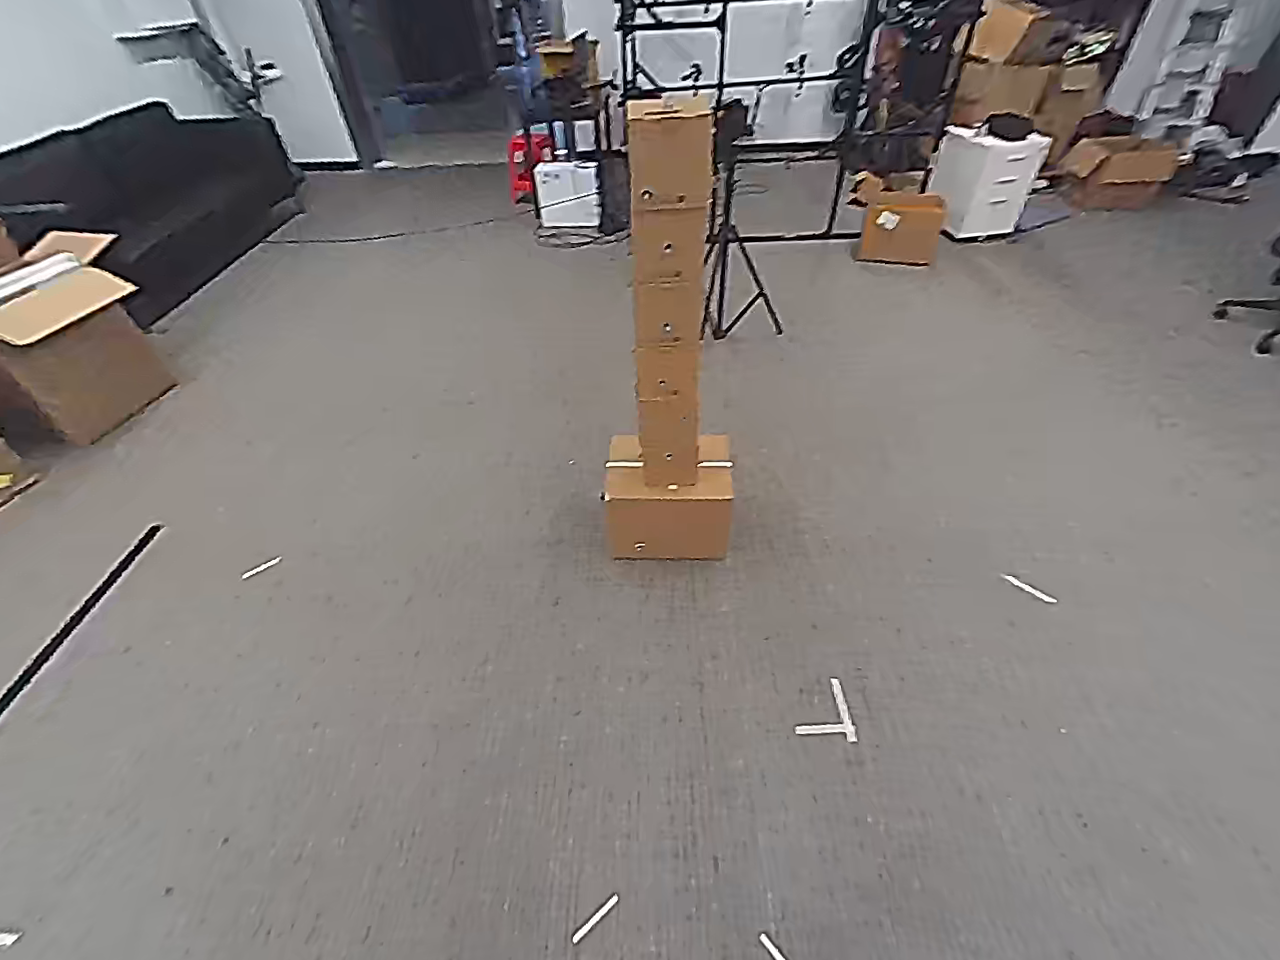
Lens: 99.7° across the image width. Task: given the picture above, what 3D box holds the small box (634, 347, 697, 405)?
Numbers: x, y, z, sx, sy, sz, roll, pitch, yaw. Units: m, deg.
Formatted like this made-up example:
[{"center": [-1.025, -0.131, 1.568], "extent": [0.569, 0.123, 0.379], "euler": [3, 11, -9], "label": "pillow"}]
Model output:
[{"center": [0.068, -0.325, 1.496], "extent": [0.168, 0.176, 0.179], "euler": [-1, 45, 2], "label": "small box"}]

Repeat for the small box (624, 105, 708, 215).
[{"center": [0.053, -0.677, 1.151], "extent": [0.168, 0.176, 0.179], "euler": [-3, 44, 0], "label": "small box"}]

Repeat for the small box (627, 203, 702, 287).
[{"center": [0.056, -0.566, 1.274], "extent": [0.168, 0.176, 0.179], "euler": [-2, 45, 0], "label": "small box"}]

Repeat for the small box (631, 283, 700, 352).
[{"center": [0.061, -0.445, 1.384], "extent": [0.168, 0.176, 0.179], "euler": [-2, 45, 1], "label": "small box"}]

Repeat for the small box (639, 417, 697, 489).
[{"center": [0.088, -0.082, 1.714], "extent": [0.179, 0.176, 0.168], "euler": [-1, 45, 1], "label": "small box"}]
